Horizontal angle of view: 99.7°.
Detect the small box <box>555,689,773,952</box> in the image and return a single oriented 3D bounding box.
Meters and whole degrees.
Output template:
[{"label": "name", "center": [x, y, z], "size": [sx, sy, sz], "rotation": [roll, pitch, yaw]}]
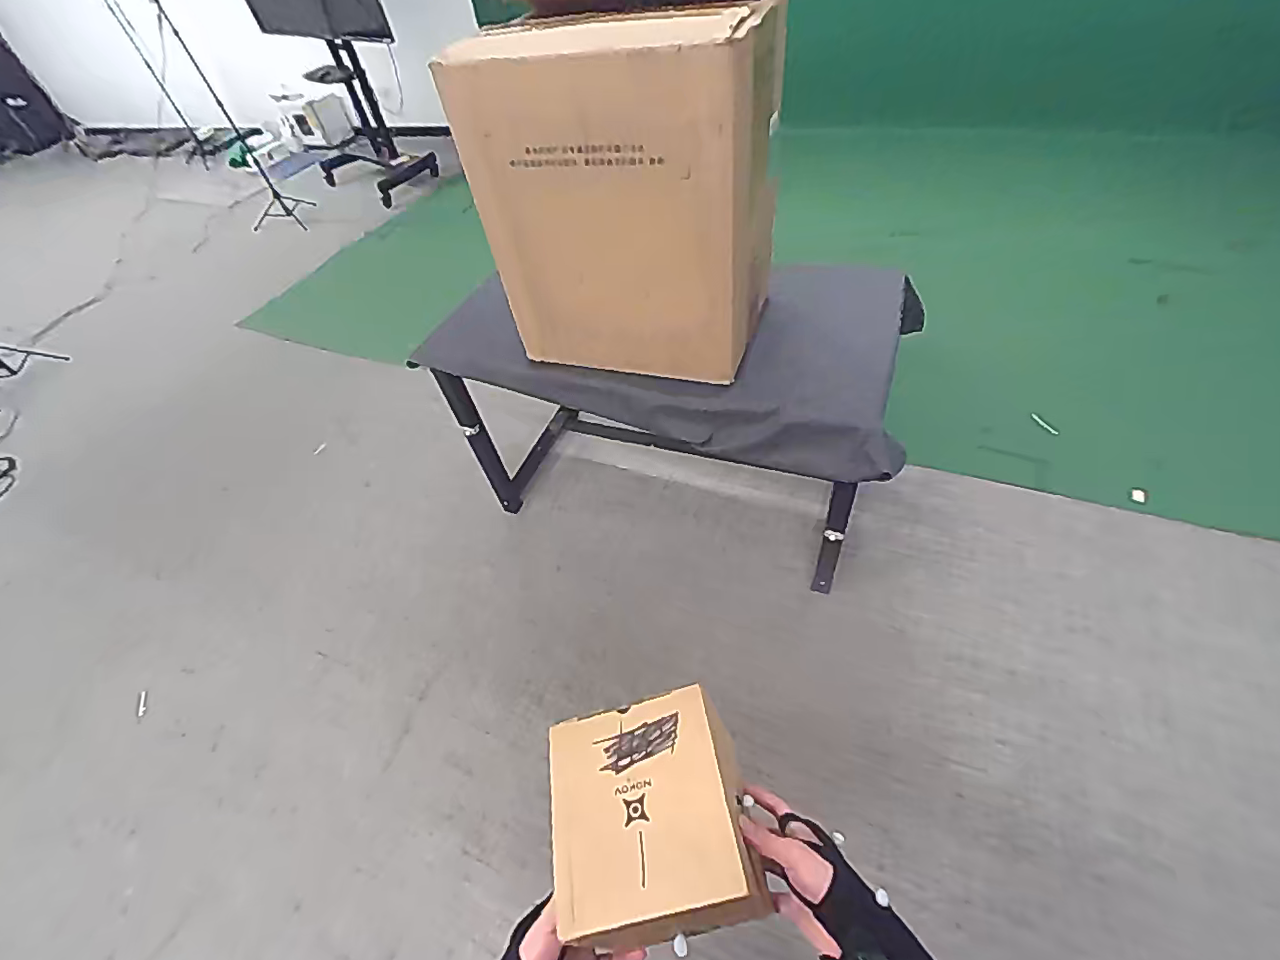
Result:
[{"label": "small box", "center": [0.023, 0.347, 0.549], "size": [0.168, 0.176, 0.179], "rotation": [-19, 44, 6]}]
